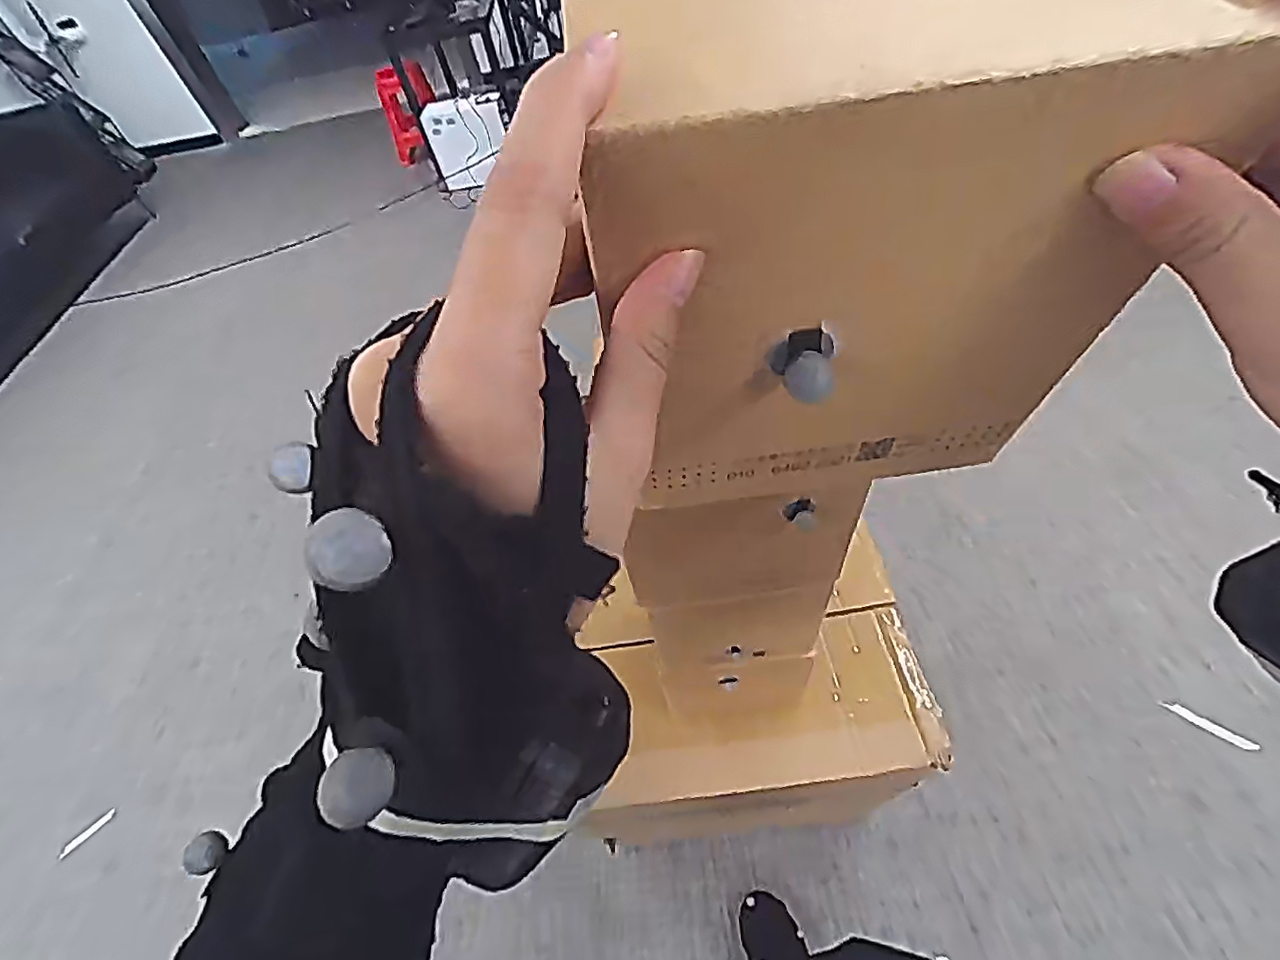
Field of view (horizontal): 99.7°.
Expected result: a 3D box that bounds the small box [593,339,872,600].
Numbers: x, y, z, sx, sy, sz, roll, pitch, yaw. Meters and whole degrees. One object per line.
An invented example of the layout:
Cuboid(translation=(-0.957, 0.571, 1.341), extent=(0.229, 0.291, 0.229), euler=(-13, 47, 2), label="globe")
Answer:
Cuboid(translation=(0.064, -0.016, 0.449), extent=(0.179, 0.176, 0.168), euler=(-9, 52, 3), label="small box")

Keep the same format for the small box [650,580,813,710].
Cuboid(translation=(0.110, 0.187, 0.704), extent=(0.179, 0.176, 0.168), euler=(-9, 52, 3), label="small box")

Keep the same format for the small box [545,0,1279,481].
Cuboid(translation=(0.061, -0.112, 0.227), extent=(0.168, 0.176, 0.179), euler=(-8, 58, 1), label="small box")
